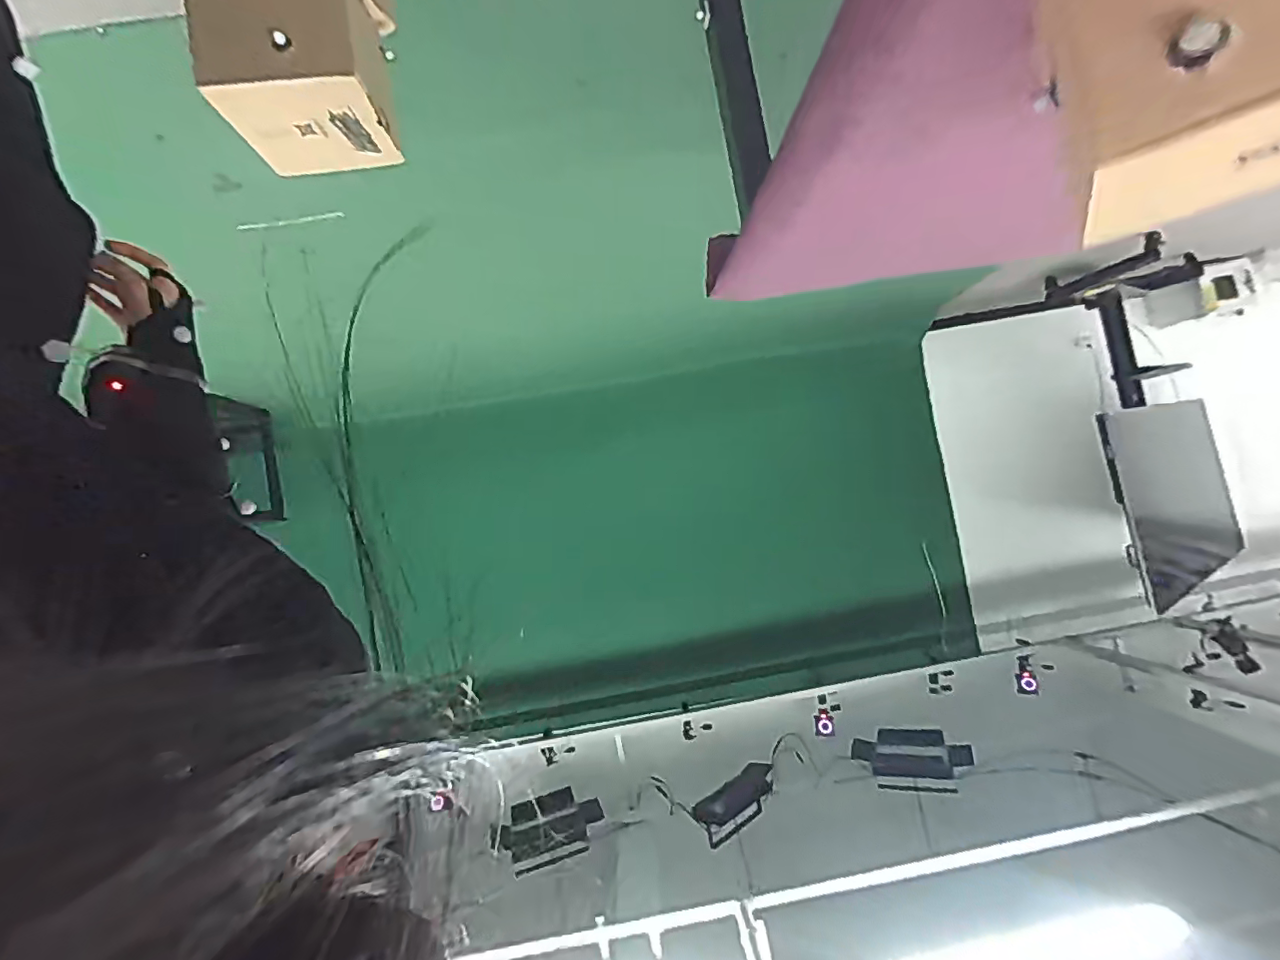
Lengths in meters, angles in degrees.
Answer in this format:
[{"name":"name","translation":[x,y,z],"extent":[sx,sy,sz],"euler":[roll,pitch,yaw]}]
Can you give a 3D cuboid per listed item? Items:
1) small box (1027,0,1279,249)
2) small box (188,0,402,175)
[{"name":"small box","translation":[0.348,-0.273,0.319],"extent":[0.179,0.176,0.168],"euler":[-14,177,37]},{"name":"small box","translation":[-0.430,-0.524,0.687],"extent":[0.179,0.176,0.168],"euler":[-9,178,-6]}]
